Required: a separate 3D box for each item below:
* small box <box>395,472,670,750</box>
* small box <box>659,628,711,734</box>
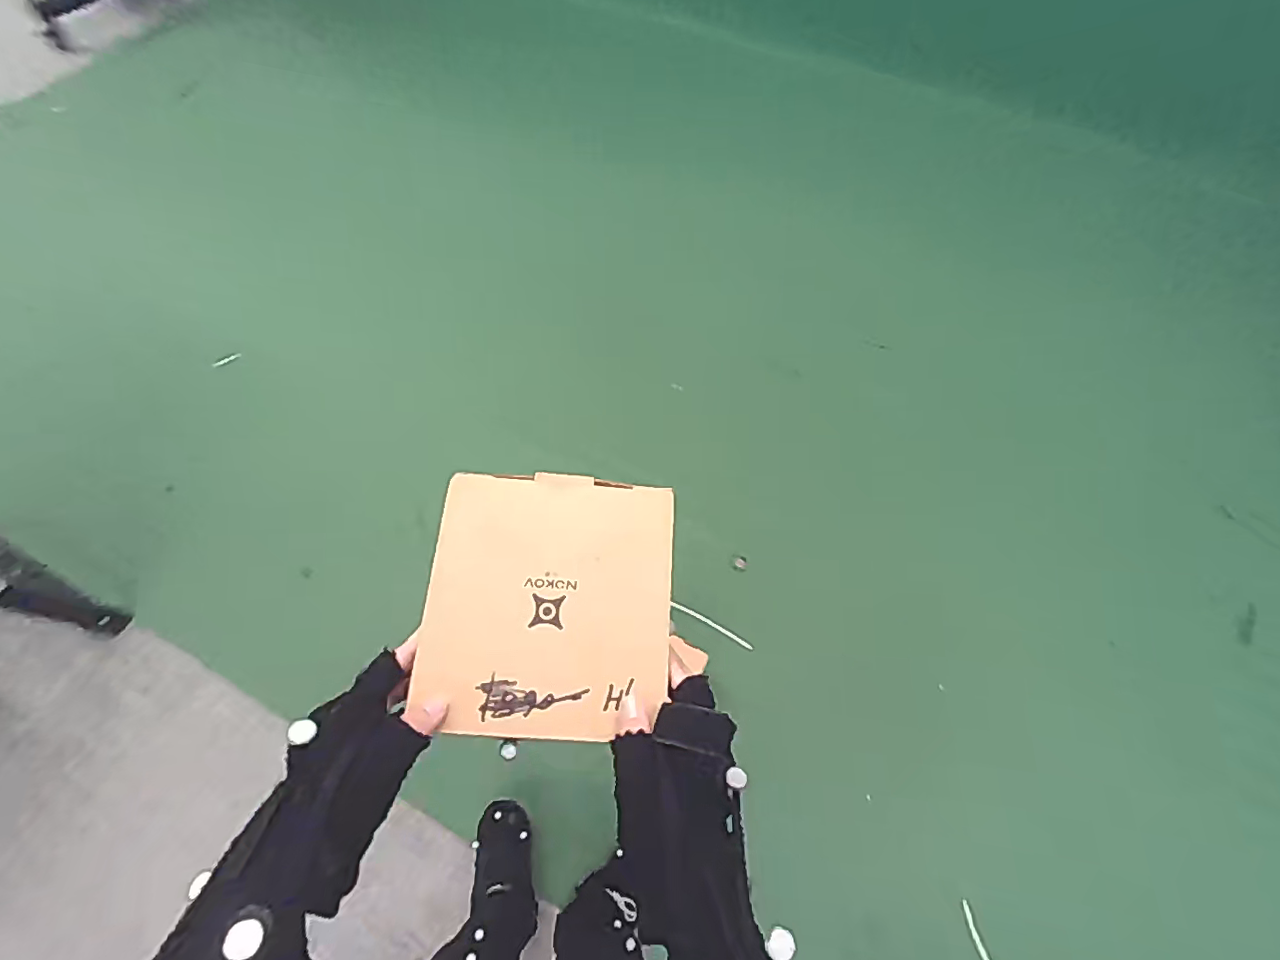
[{"bbox_3d":[-0.070,0.110,0.437,0.168,0.176,0.179,4,69,-2],"label":"small box"},{"bbox_3d":[0.037,0.434,1.188,0.168,0.176,0.179,27,67,14],"label":"small box"}]
